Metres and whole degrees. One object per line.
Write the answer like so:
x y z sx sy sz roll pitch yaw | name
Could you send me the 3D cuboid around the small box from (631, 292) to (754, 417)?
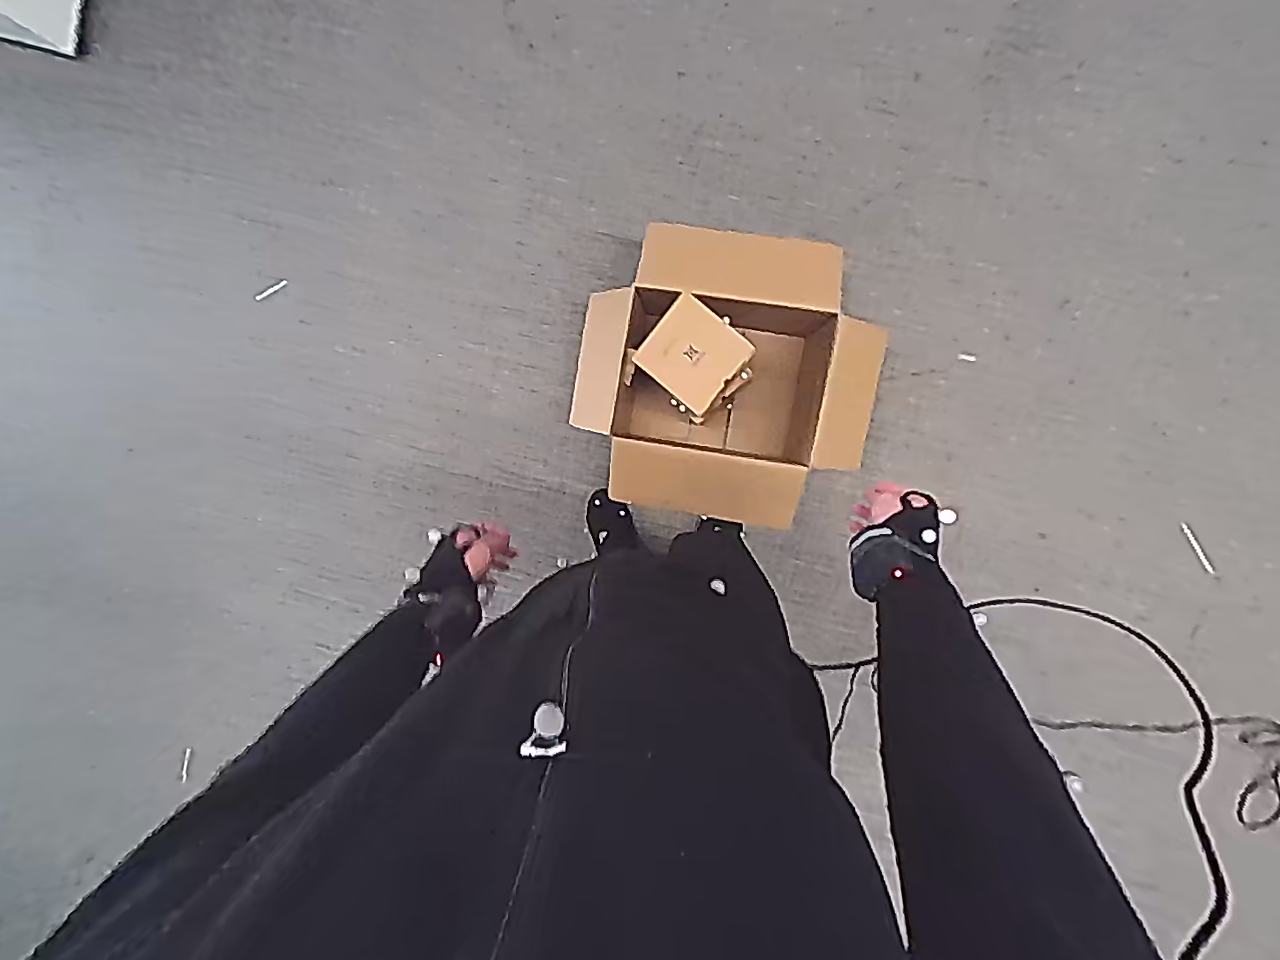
0.112 -0.246 1.098 0.179 0.176 0.168 41 100 5 | small box
